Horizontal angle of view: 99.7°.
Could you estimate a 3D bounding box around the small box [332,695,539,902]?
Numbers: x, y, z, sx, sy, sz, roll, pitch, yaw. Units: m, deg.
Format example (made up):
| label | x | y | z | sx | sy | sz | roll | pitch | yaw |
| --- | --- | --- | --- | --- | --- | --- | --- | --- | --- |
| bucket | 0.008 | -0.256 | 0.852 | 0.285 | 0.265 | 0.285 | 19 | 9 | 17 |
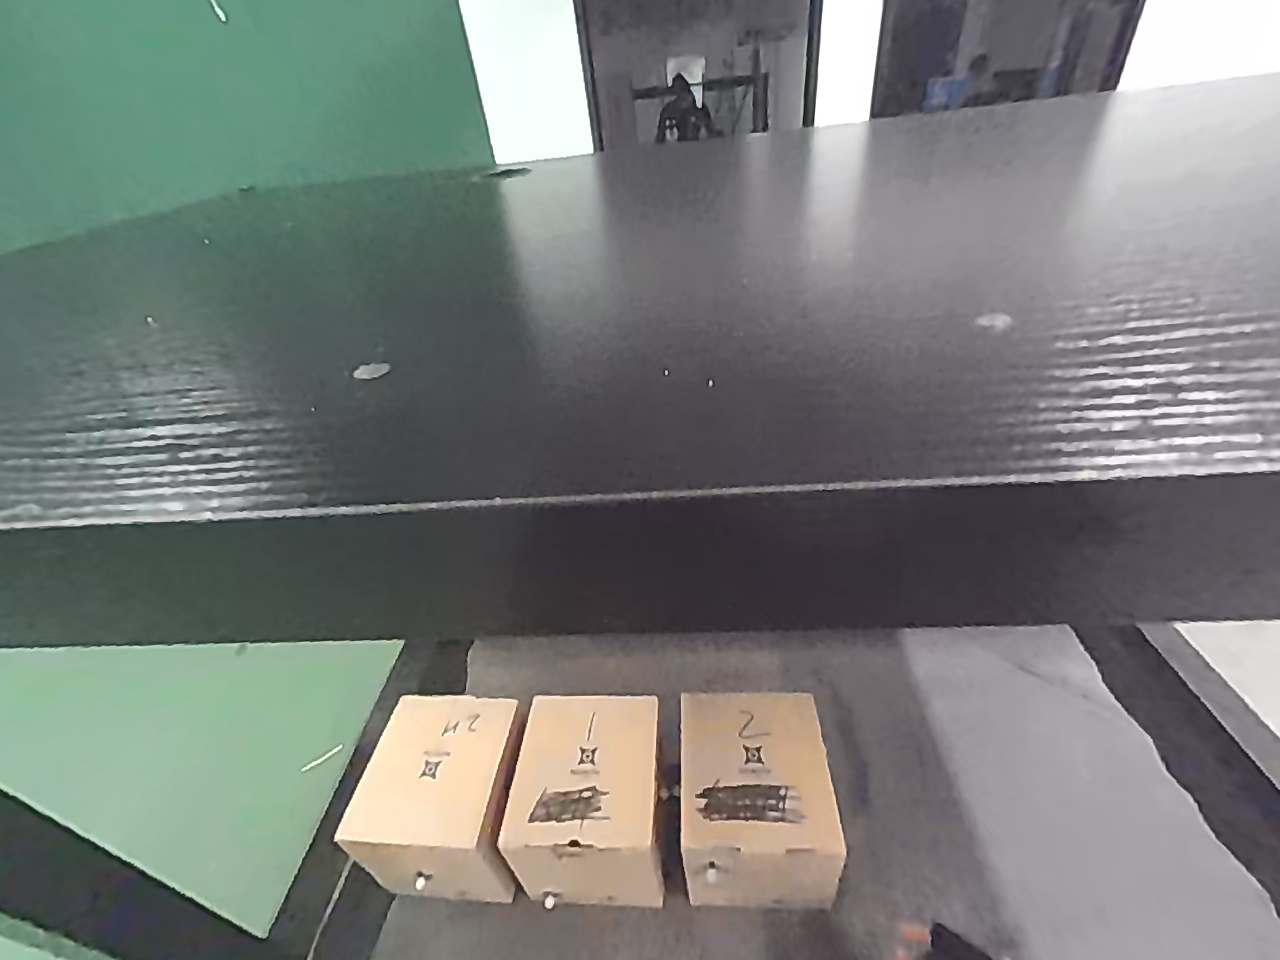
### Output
| label | x | y | z | sx | sy | sz | roll | pitch | yaw |
| --- | --- | --- | --- | --- | --- | --- | --- | --- | --- |
| small box | -0.237 | 0.401 | 0.685 | 0.168 | 0.176 | 0.179 | 0 | 36 | 7 |
